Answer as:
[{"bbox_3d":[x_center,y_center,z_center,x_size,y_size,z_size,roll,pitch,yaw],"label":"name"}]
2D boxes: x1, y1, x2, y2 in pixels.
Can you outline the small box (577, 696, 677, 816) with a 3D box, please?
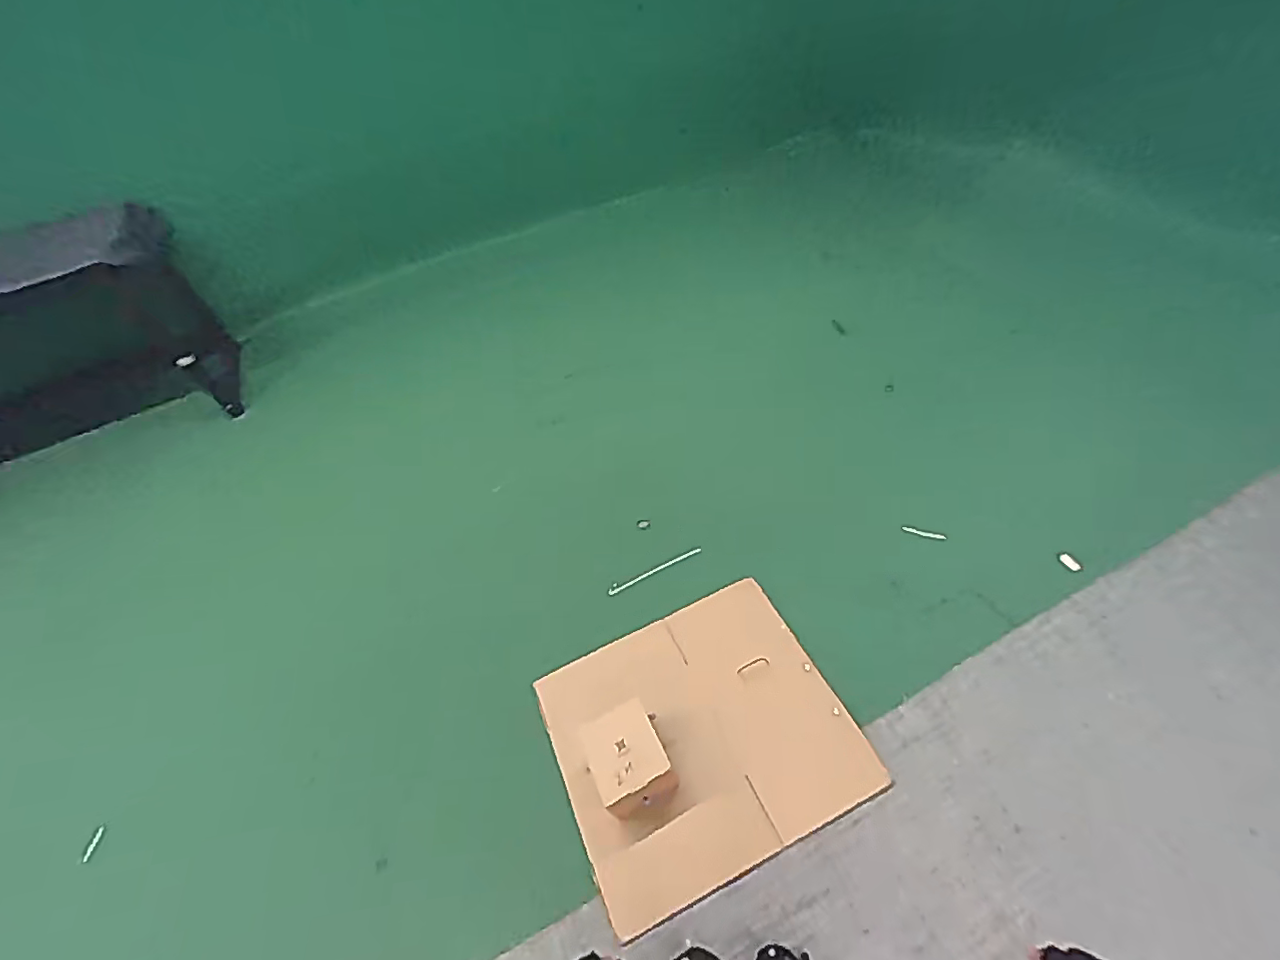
[{"bbox_3d":[-0.027,0.644,1.257,0.168,0.176,0.179,-26,52,-10],"label":"small box"}]
